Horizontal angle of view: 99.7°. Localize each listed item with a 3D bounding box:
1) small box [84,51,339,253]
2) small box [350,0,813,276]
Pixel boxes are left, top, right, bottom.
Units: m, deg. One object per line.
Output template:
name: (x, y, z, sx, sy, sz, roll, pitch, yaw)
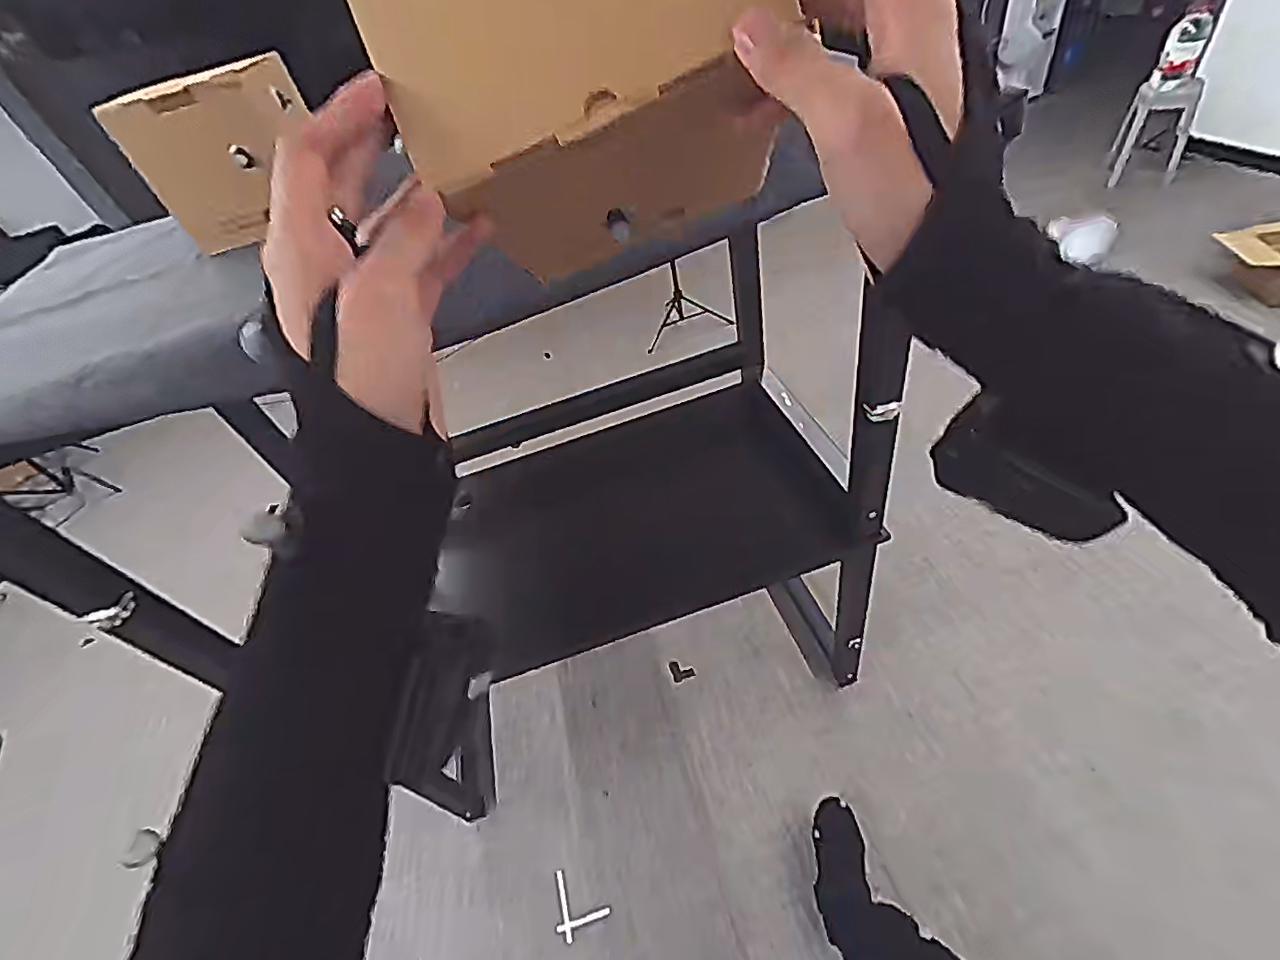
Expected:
small box: (-0.519, -0.412, 0.693, 0.168, 0.176, 0.179, -17, 46, -1)
small box: (-0.033, -0.233, 0.280, 0.168, 0.179, 0.176, -20, 7, 9)
